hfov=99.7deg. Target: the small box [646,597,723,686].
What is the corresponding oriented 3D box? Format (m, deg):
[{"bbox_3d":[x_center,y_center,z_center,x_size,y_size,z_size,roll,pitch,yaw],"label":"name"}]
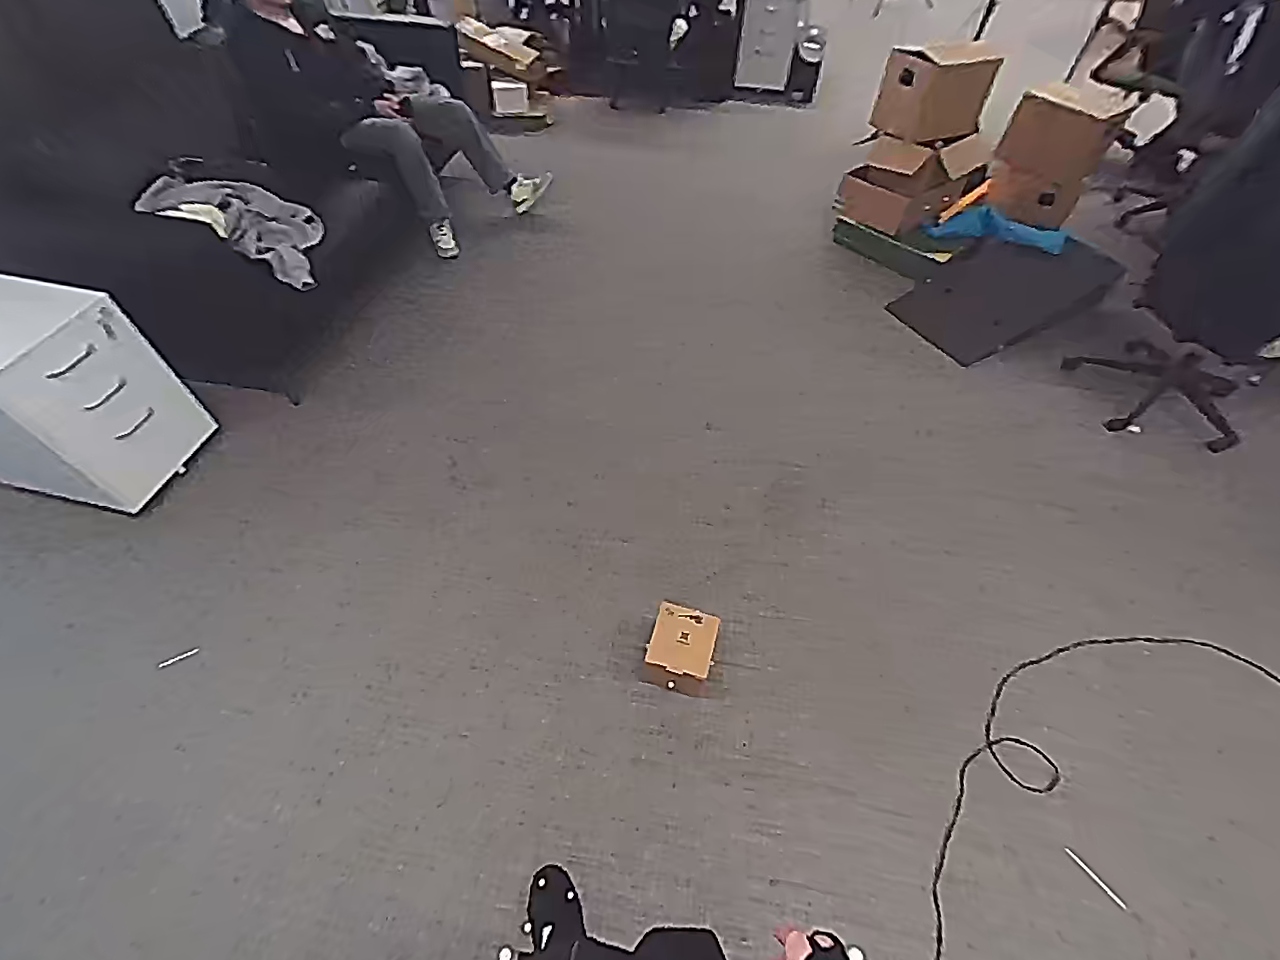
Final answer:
[{"bbox_3d":[0.119,0.451,1.497,0.179,0.176,0.168,-10,52,-7],"label":"small box"}]
